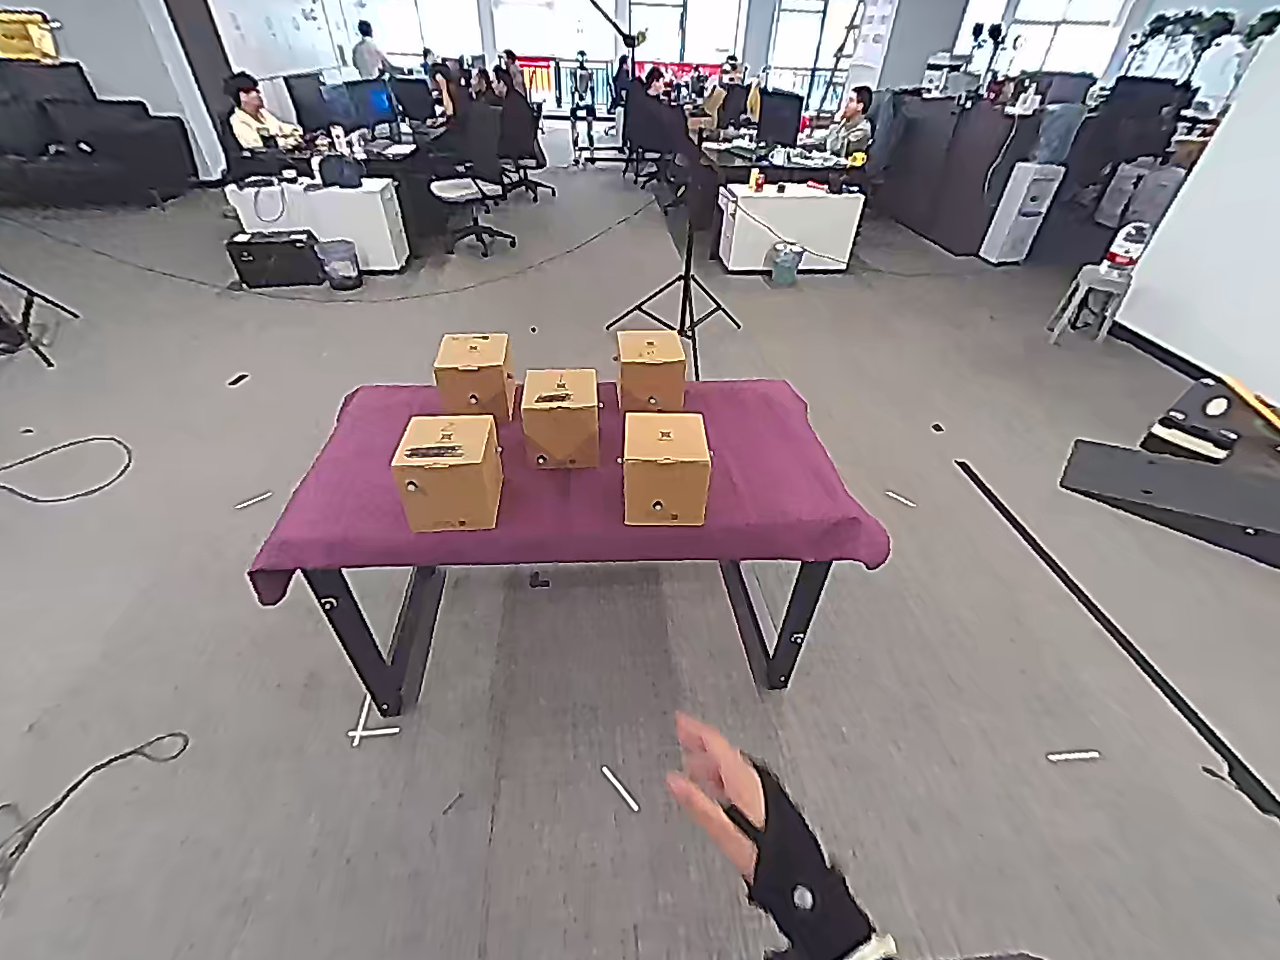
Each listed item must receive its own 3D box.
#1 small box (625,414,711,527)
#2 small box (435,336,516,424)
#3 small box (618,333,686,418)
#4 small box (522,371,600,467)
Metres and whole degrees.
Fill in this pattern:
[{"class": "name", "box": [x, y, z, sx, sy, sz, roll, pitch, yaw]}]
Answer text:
[{"class": "small box", "box": [0.052, -0.022, 1.143, 0.168, 0.176, 0.179, 1, 38, -2]}, {"class": "small box", "box": [-0.418, -0.256, 1.407, 0.168, 0.176, 0.179, -2, 42, -6]}, {"class": "small box", "box": [0.026, -0.283, 1.458, 0.168, 0.176, 0.179, -3, 41, -5]}, {"class": "small box", "box": [-0.180, -0.141, 1.281, 0.168, 0.176, 0.179, -2, 39, -5]}]
